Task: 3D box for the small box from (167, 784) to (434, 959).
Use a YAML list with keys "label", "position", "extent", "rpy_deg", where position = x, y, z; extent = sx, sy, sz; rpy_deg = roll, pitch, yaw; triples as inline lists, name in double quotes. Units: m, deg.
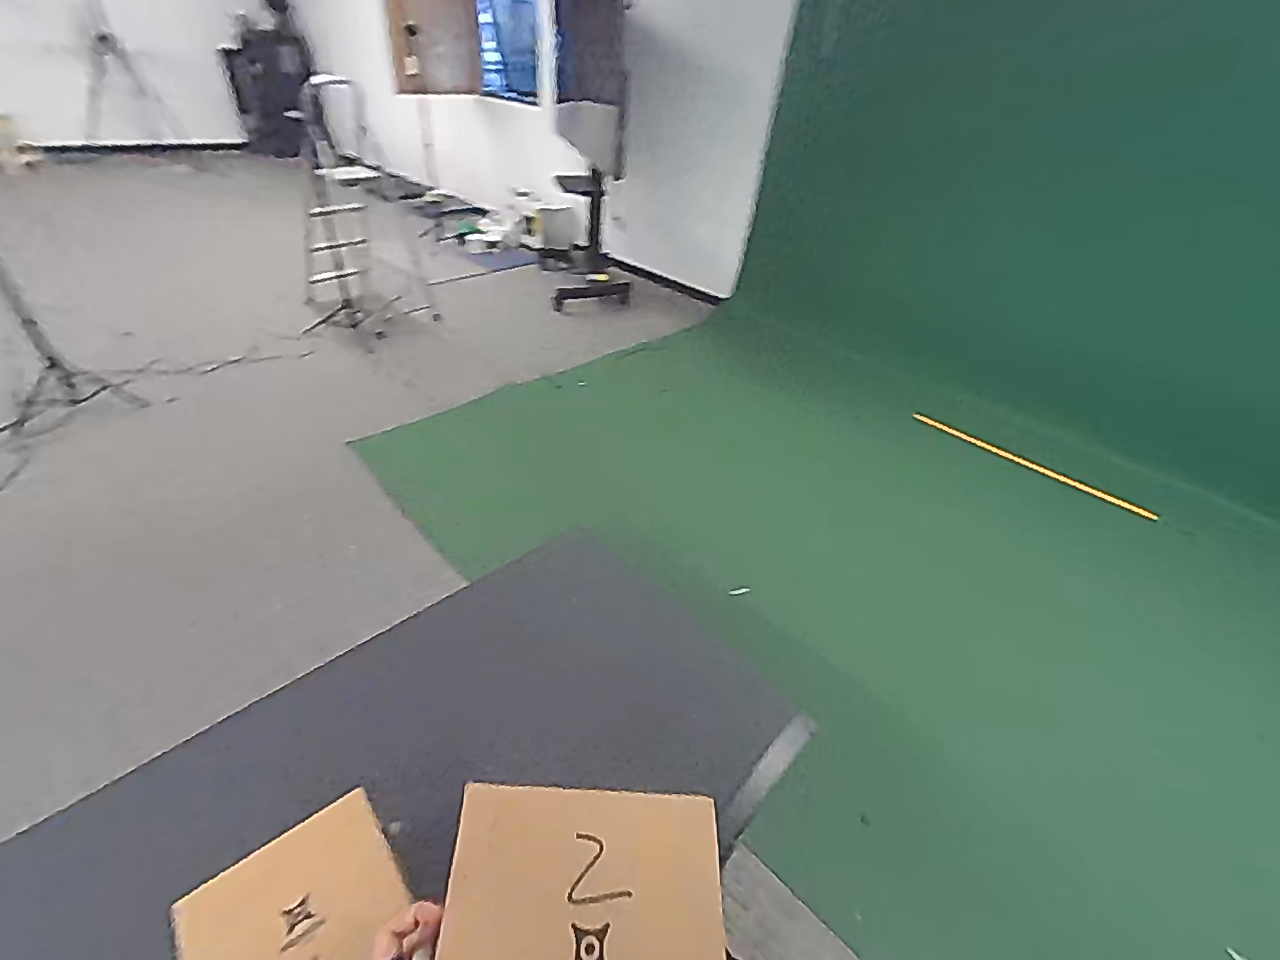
- label: "small box"
  position: [-0.315, 0.453, 0.525]
  extent: [0.168, 0.176, 0.179]
  rpy_deg: [-24, 47, -34]
